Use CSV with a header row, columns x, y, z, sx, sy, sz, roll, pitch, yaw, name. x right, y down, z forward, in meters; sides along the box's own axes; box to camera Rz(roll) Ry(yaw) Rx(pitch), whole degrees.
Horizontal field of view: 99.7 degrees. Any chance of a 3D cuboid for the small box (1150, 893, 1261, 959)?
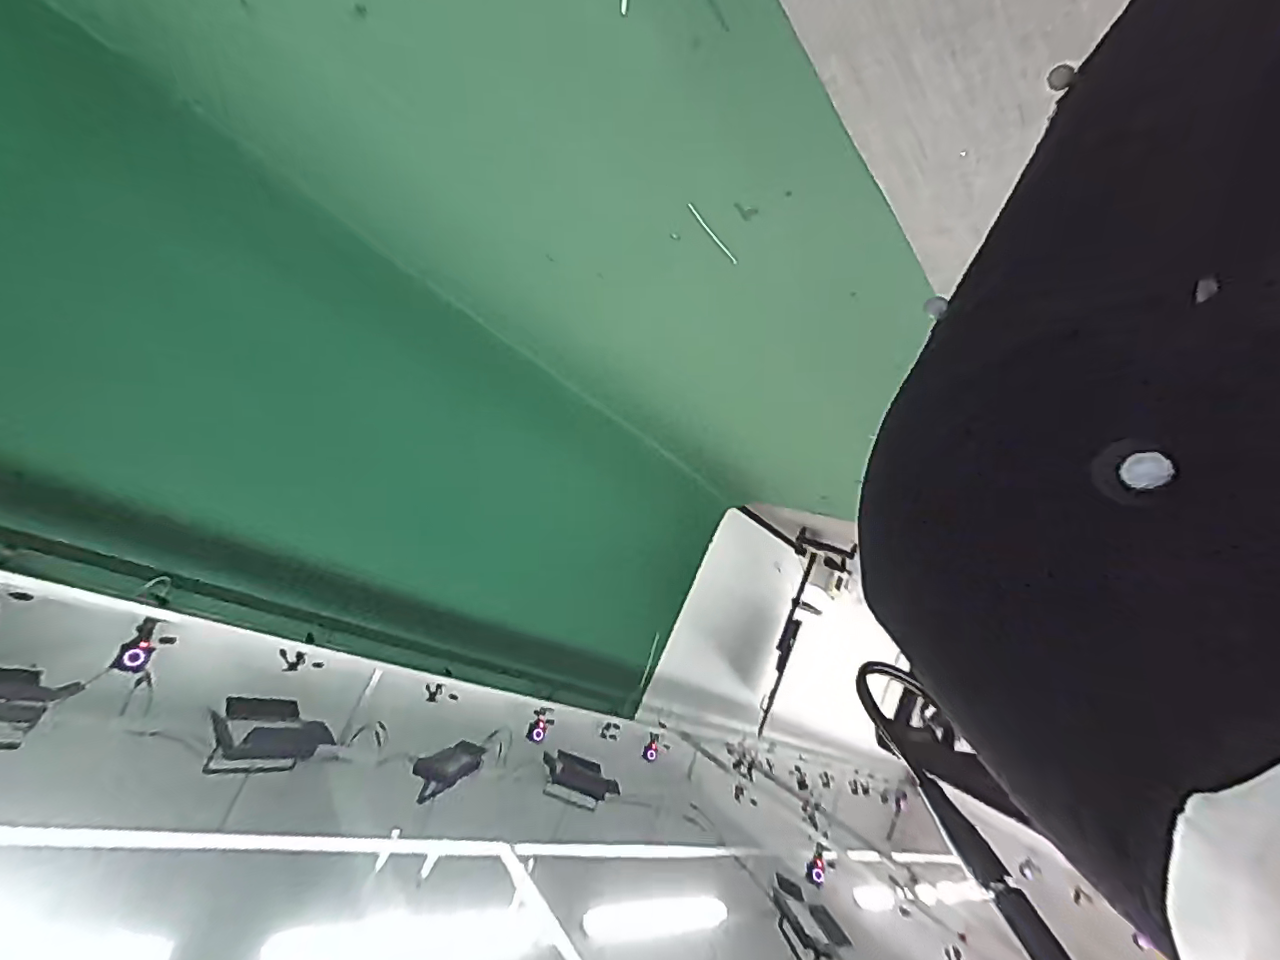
x,y,z,sx,sy,sz,roll,pitch,yaw,name
1.467,1.224,1.405,0.168,0.176,0.179,33,168,-38,small box
